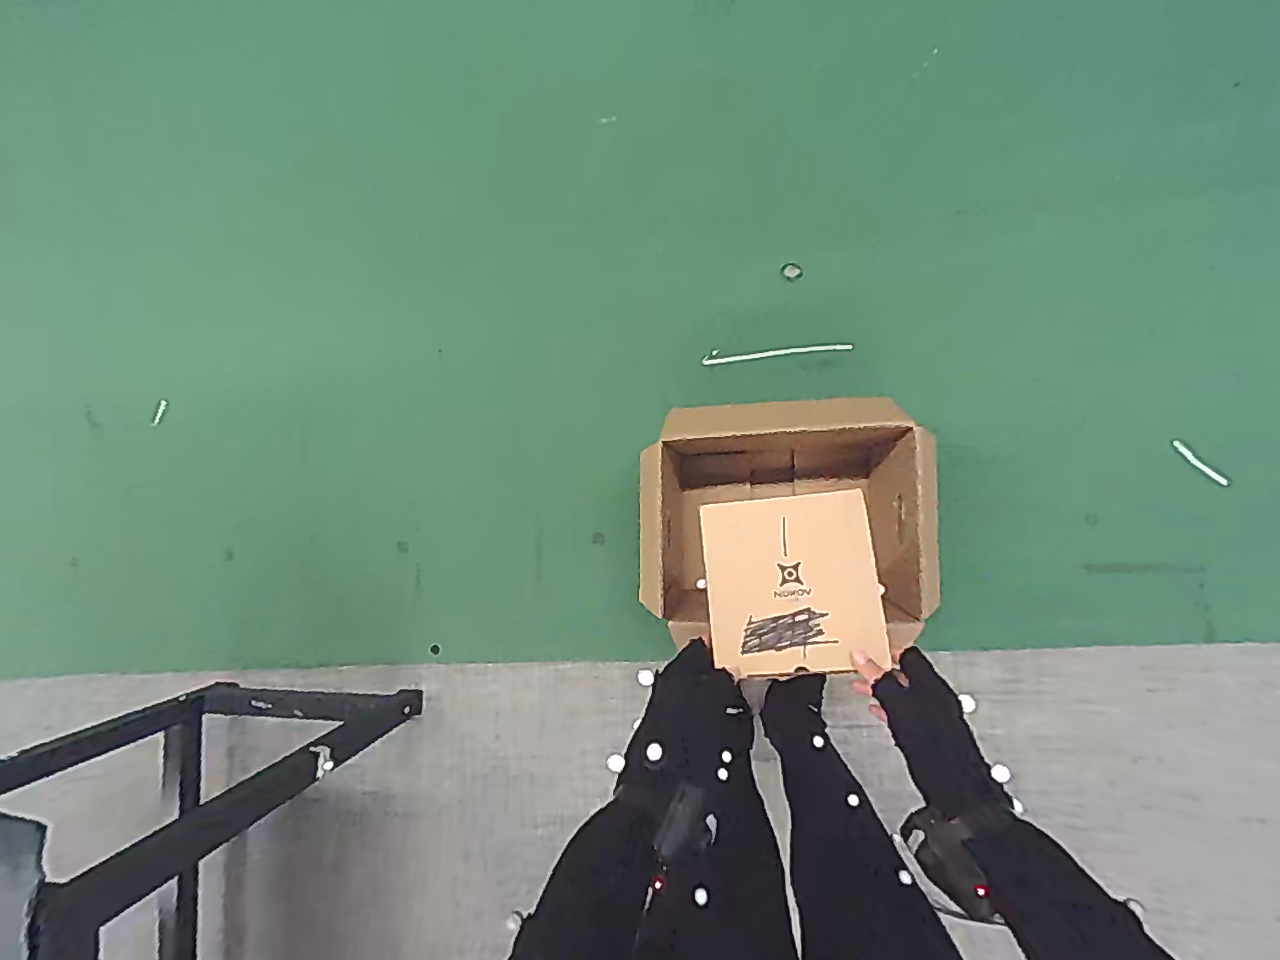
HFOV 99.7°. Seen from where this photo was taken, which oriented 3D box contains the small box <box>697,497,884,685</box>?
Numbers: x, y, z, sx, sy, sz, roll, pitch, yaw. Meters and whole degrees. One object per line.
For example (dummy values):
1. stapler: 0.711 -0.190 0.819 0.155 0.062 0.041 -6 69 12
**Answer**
1. small box: 0.159 0.126 0.611 0.168 0.176 0.179 -6 75 9
